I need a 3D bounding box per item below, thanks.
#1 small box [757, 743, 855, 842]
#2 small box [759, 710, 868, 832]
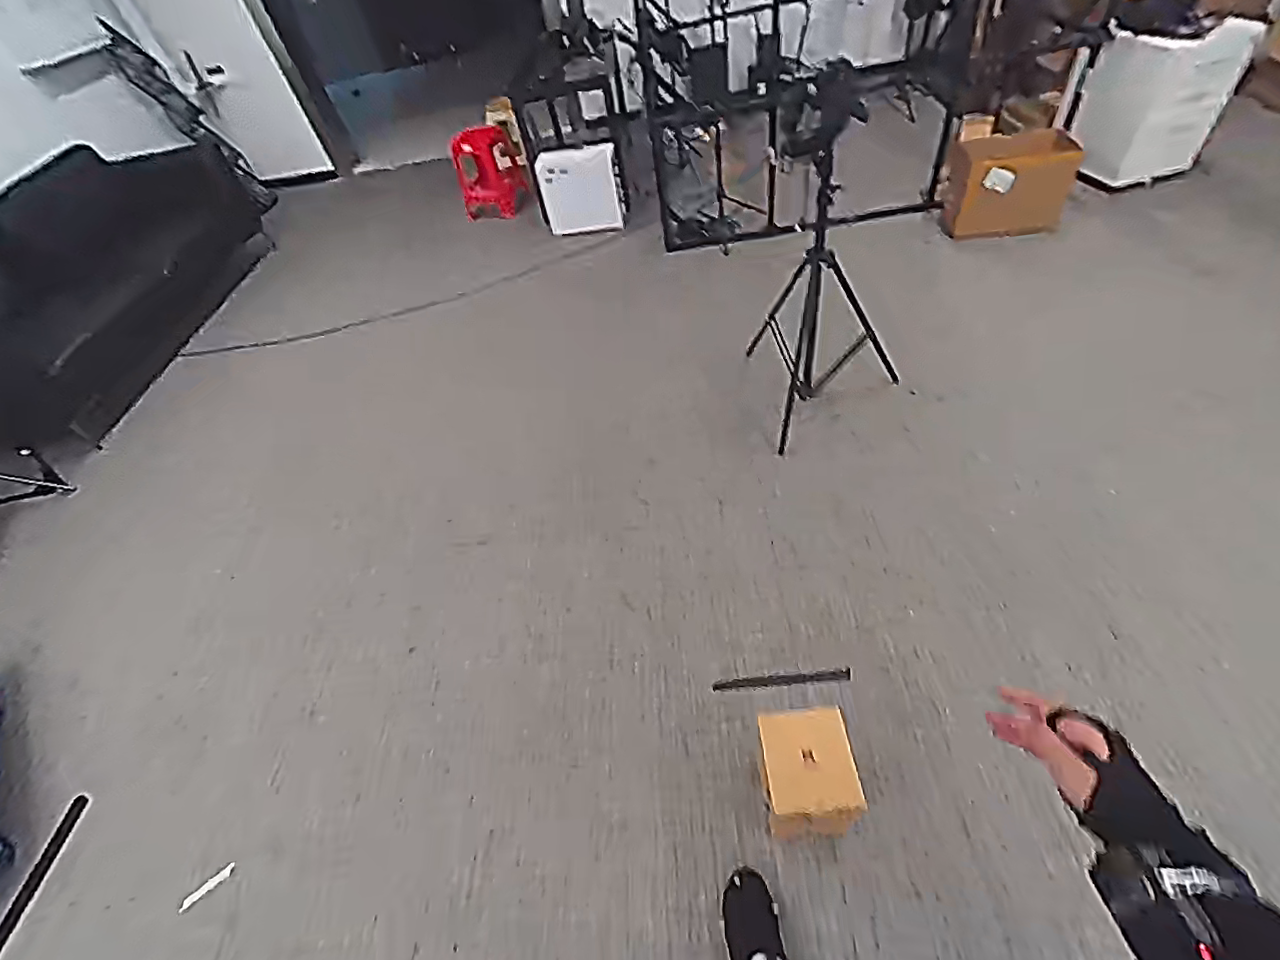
[{"bbox_3d":[0.361,0.688,1.200,0.168,0.176,0.179,-9,48,4],"label":"small box"},{"bbox_3d":[0.334,0.582,1.079,0.168,0.176,0.179,-9,49,5],"label":"small box"}]
